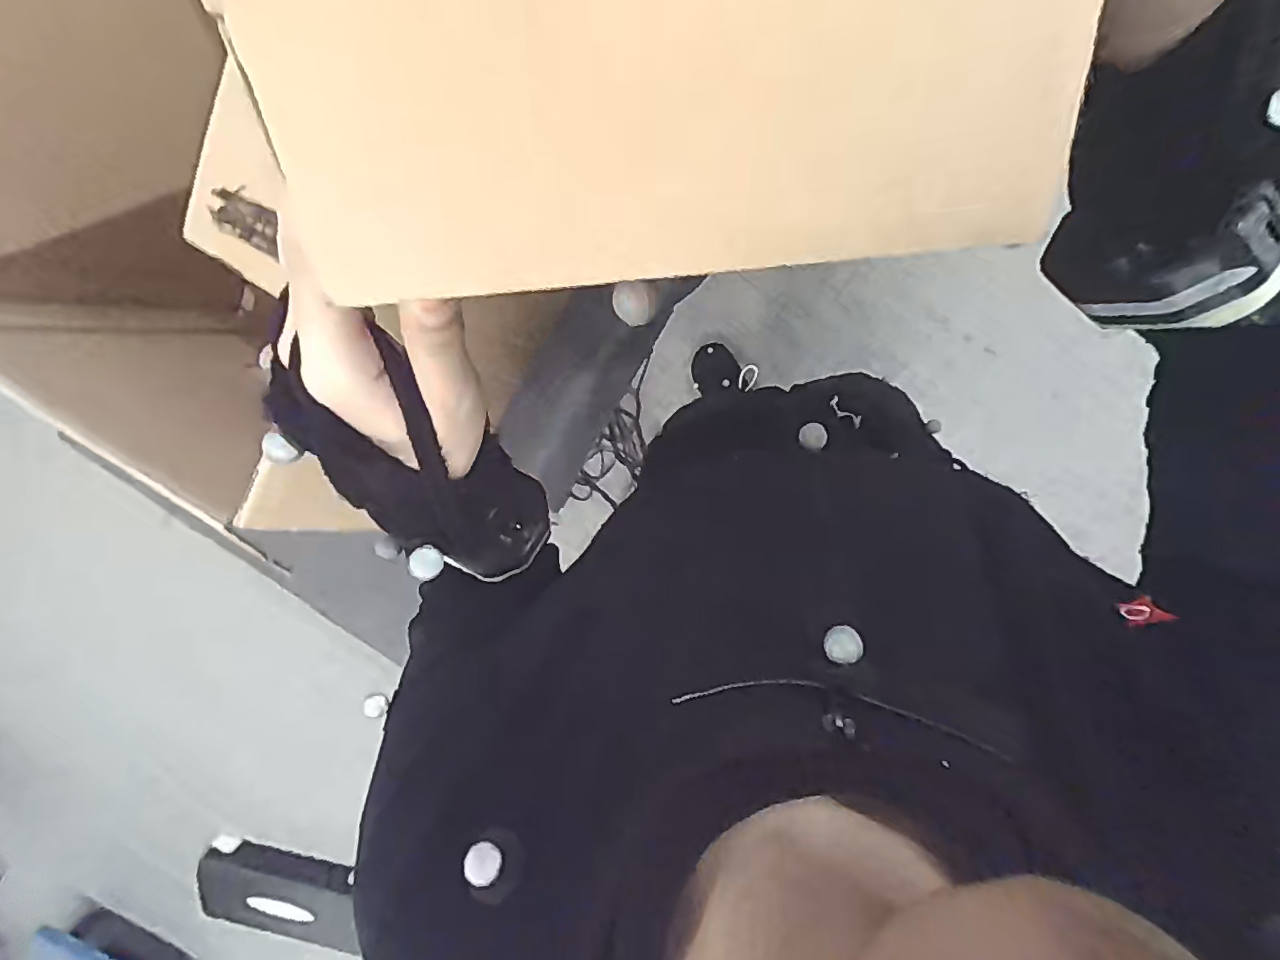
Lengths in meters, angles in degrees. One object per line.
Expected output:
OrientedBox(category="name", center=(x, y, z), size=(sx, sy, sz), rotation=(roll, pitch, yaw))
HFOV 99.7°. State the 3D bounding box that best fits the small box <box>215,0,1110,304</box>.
OrientedBox(category="small box", center=(0.005, -0.156, 0.161), size=(0.179, 0.176, 0.168), rotation=(-1, 118, 9))
